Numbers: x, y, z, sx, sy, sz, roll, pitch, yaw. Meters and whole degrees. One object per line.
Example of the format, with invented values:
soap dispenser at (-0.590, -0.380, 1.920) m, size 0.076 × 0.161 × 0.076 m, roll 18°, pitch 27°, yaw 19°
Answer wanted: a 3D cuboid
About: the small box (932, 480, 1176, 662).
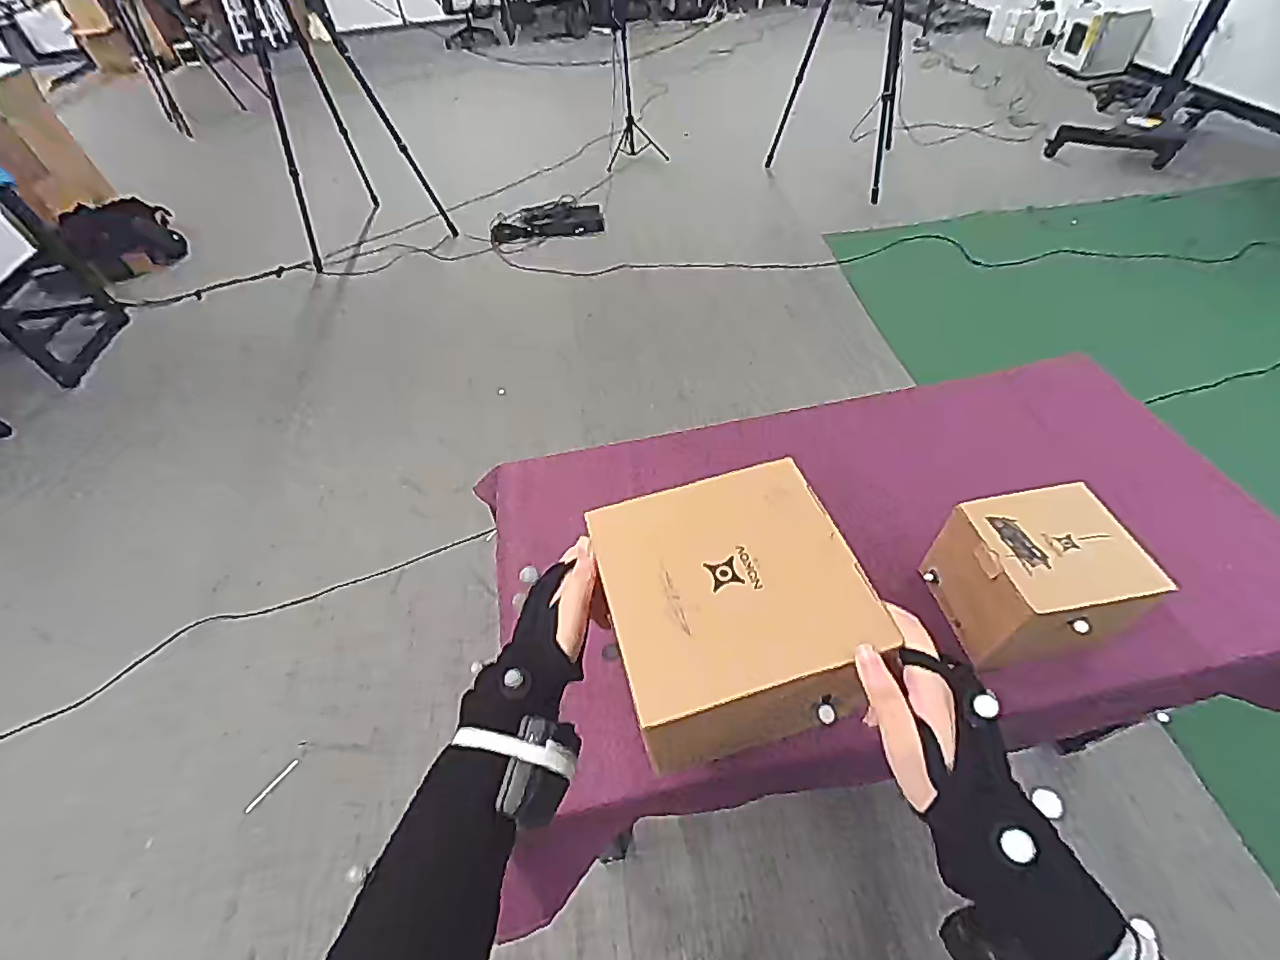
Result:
small box at (0.522, 0.127, 0.723) m, size 0.179 × 0.176 × 0.168 m, roll -9°, pitch 50°, yaw -2°
